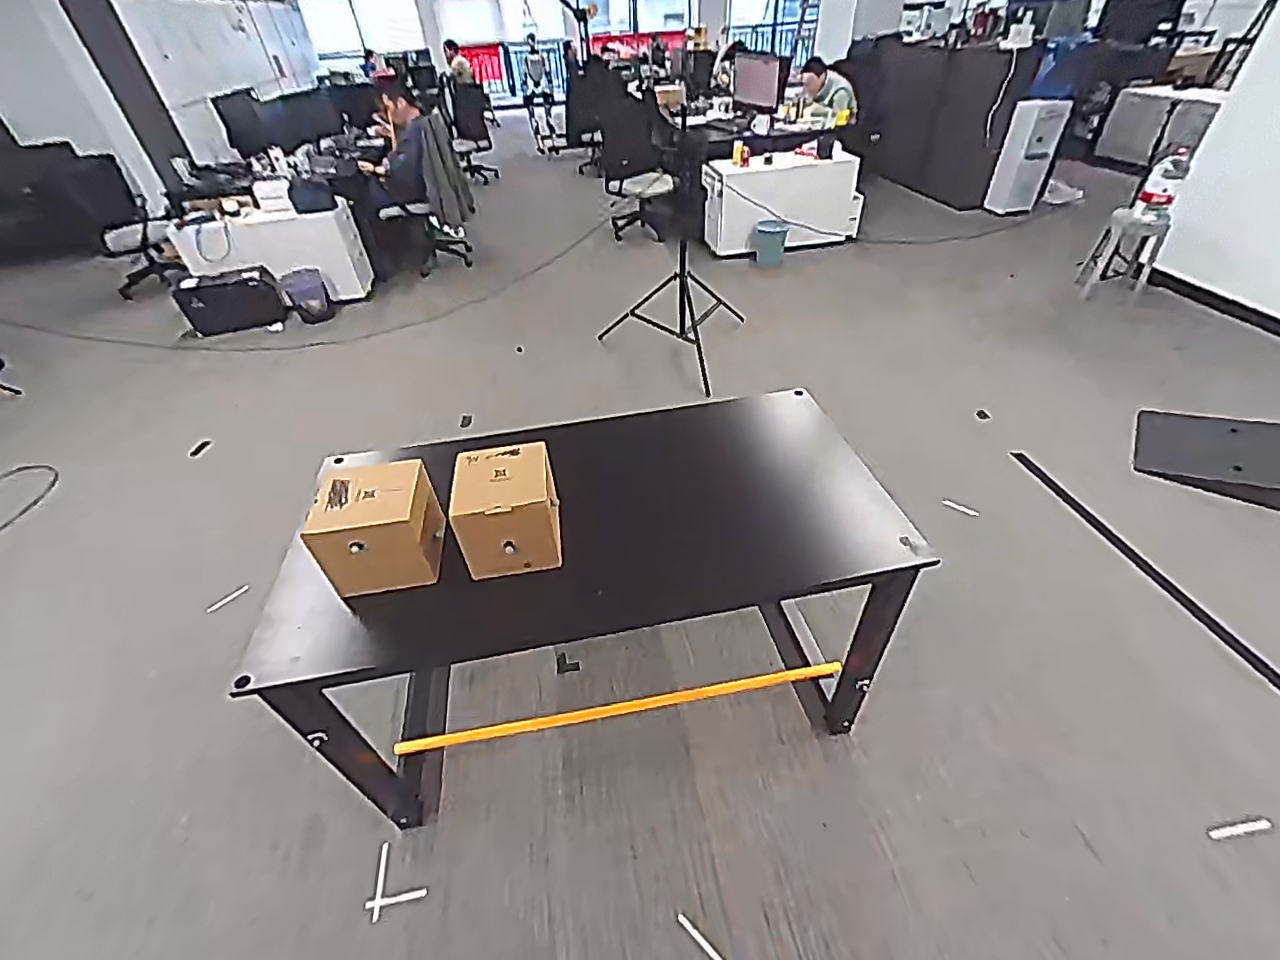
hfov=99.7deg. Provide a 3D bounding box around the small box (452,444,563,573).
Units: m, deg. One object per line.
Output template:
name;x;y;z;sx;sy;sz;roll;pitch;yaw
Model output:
small box;-0.241;0.058;1.018;0.168;0.176;0.179;-8;42;-5

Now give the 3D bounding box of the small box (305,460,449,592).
small box;-0.471;0.088;1.000;0.179;0.176;0.168;-8;42;-6
